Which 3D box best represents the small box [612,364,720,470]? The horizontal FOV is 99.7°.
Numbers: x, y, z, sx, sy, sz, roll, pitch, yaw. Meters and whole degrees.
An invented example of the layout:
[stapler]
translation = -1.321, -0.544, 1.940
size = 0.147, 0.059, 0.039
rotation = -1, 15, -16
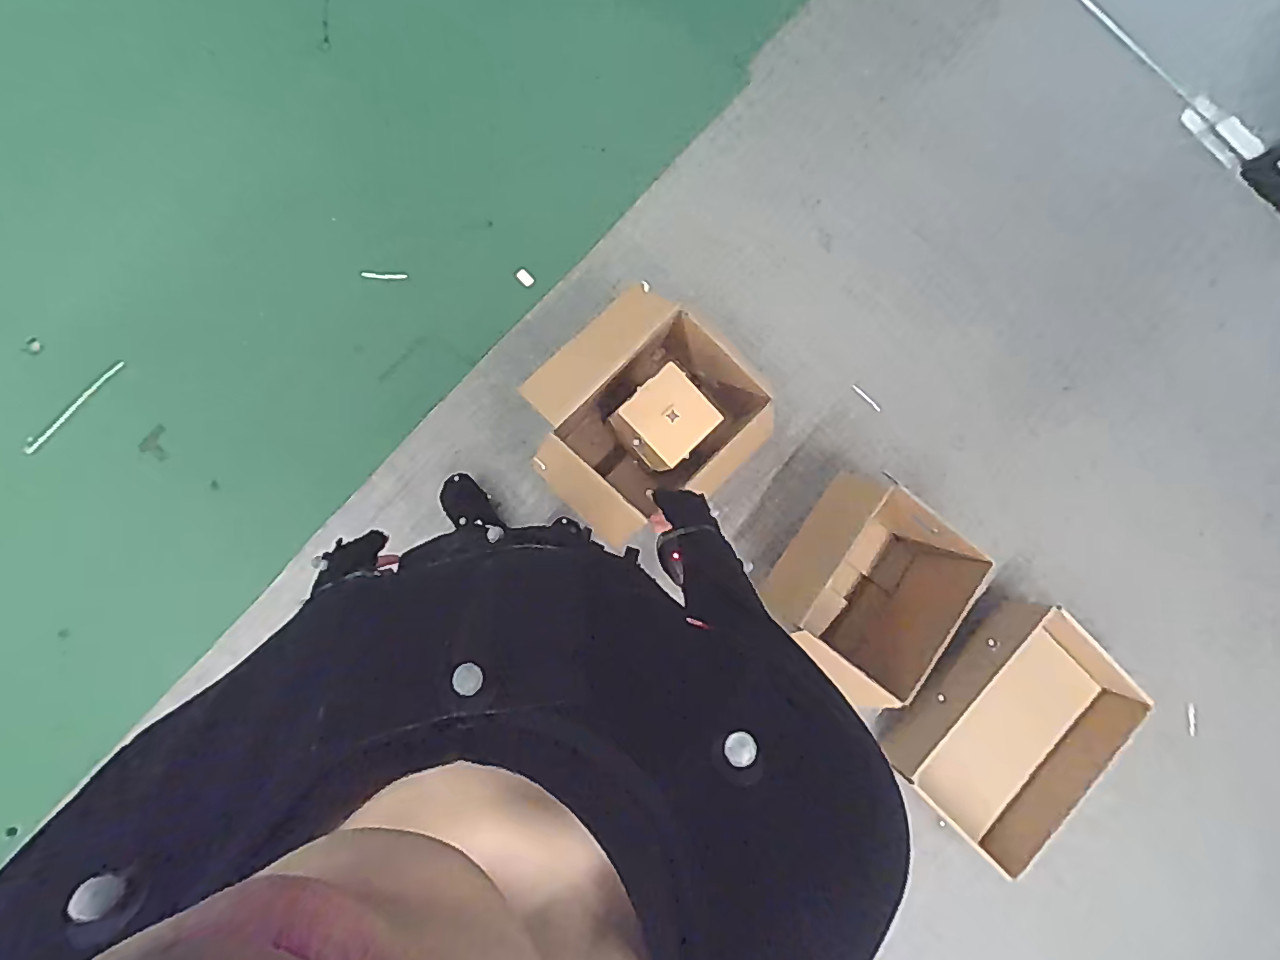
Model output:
[small box]
translation = 0.052, -0.138, 1.257
size = 0.168, 0.176, 0.179
rotation = -44, 93, -8
